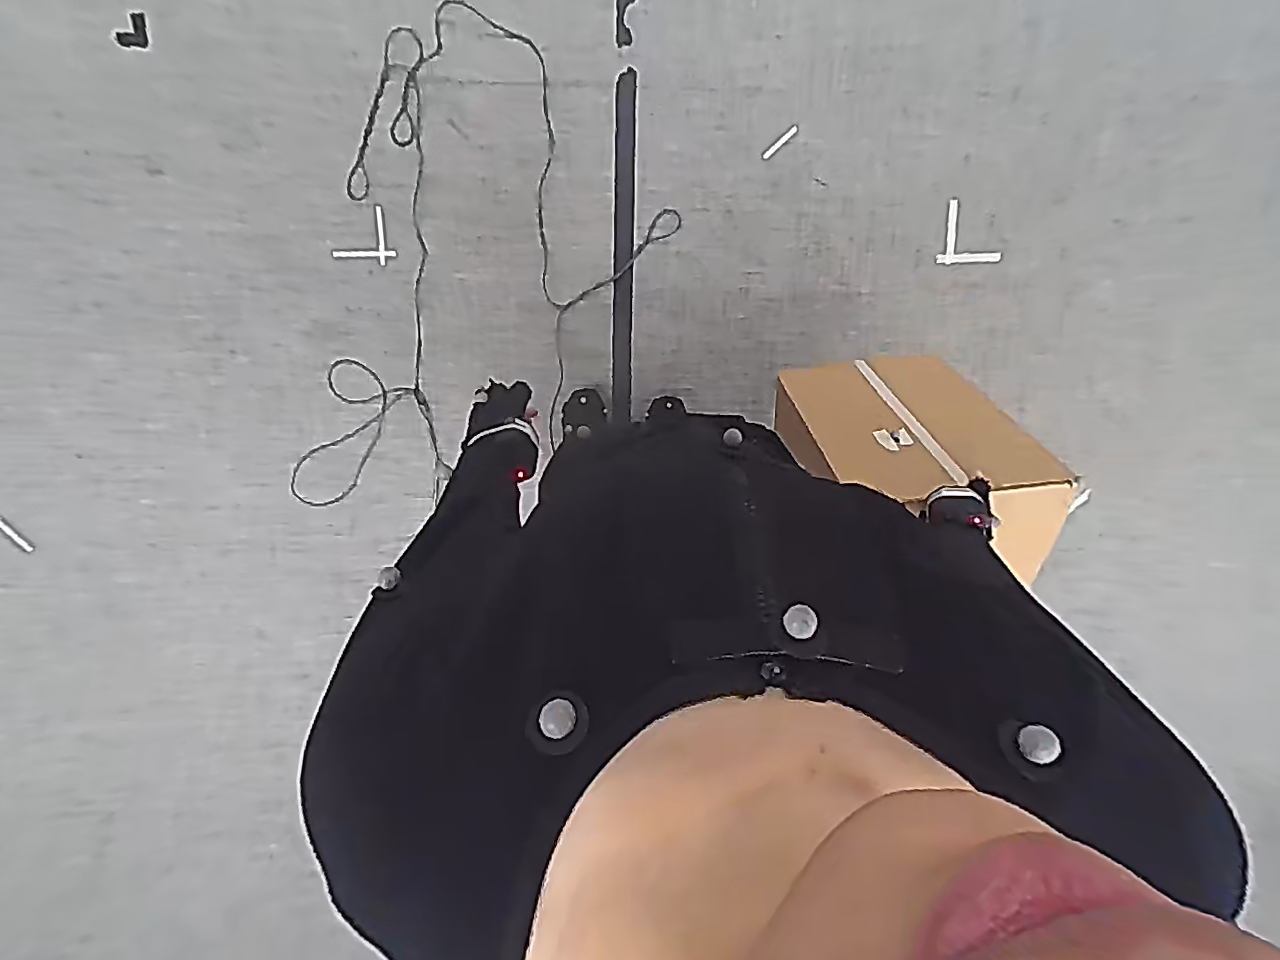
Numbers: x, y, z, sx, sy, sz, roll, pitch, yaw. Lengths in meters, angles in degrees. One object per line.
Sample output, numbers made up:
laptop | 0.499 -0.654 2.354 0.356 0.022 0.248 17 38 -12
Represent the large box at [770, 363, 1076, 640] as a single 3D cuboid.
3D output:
large box | 0.451 0.025 0.994 0.320 0.408 0.320 -7 129 0
